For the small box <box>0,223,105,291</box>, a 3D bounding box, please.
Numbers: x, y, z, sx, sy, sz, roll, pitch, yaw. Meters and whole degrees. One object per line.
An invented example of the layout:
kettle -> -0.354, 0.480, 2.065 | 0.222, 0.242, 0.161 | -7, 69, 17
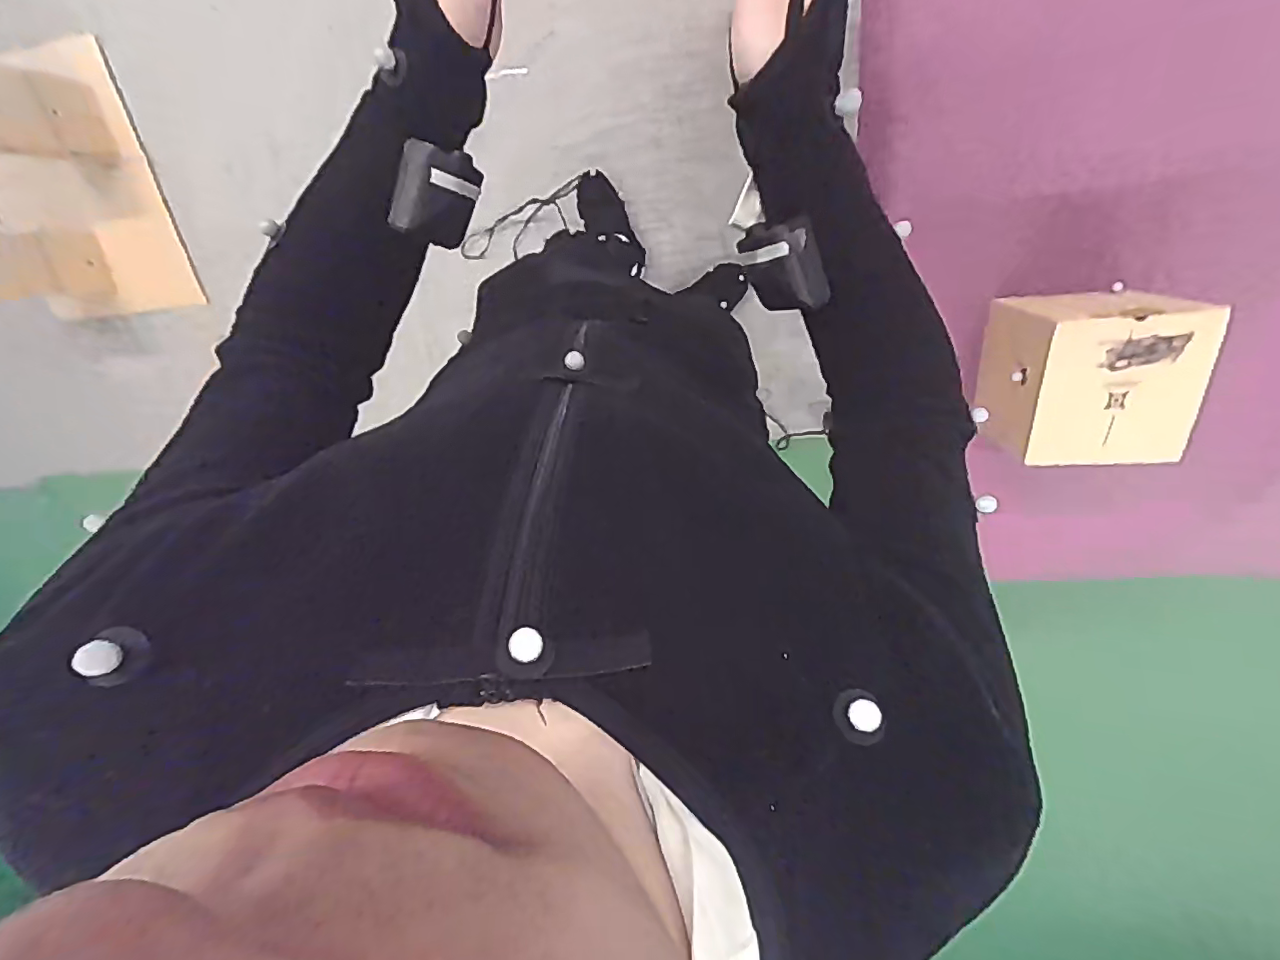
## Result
small box -> -1.771, -0.665, 1.607 | 0.168, 0.176, 0.179 | 6, 116, 7

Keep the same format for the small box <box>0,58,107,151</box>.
small box -> -1.589, -0.980, 1.429 | 0.168, 0.176, 0.179 | -1, 115, 9

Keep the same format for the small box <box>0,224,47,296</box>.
small box -> -1.789, -0.597, 1.457 | 0.168, 0.176, 0.179 | 6, 116, 7

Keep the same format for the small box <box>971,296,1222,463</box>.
small box -> 0.549, -0.134, 0.685 | 0.168, 0.176, 0.179 | -1, 116, 10
